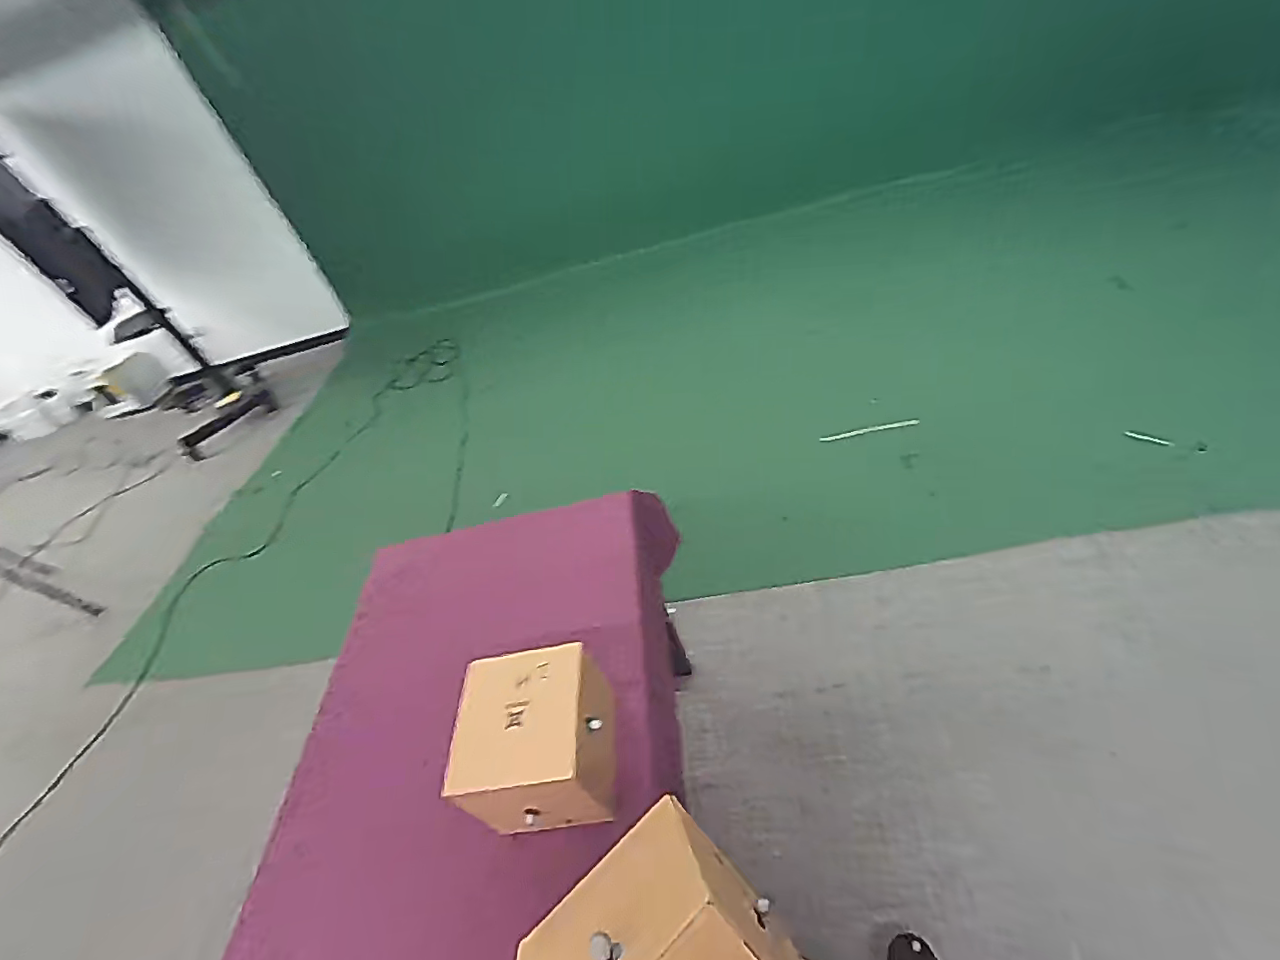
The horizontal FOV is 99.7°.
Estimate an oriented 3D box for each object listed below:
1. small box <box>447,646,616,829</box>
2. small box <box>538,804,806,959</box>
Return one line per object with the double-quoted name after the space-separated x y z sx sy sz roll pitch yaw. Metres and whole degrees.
-0.133 0.356 0.738 0.168 0.176 0.179 -12 42 9 "small box"
0.031 0.387 0.391 0.179 0.176 0.168 -40 86 -12 "small box"
